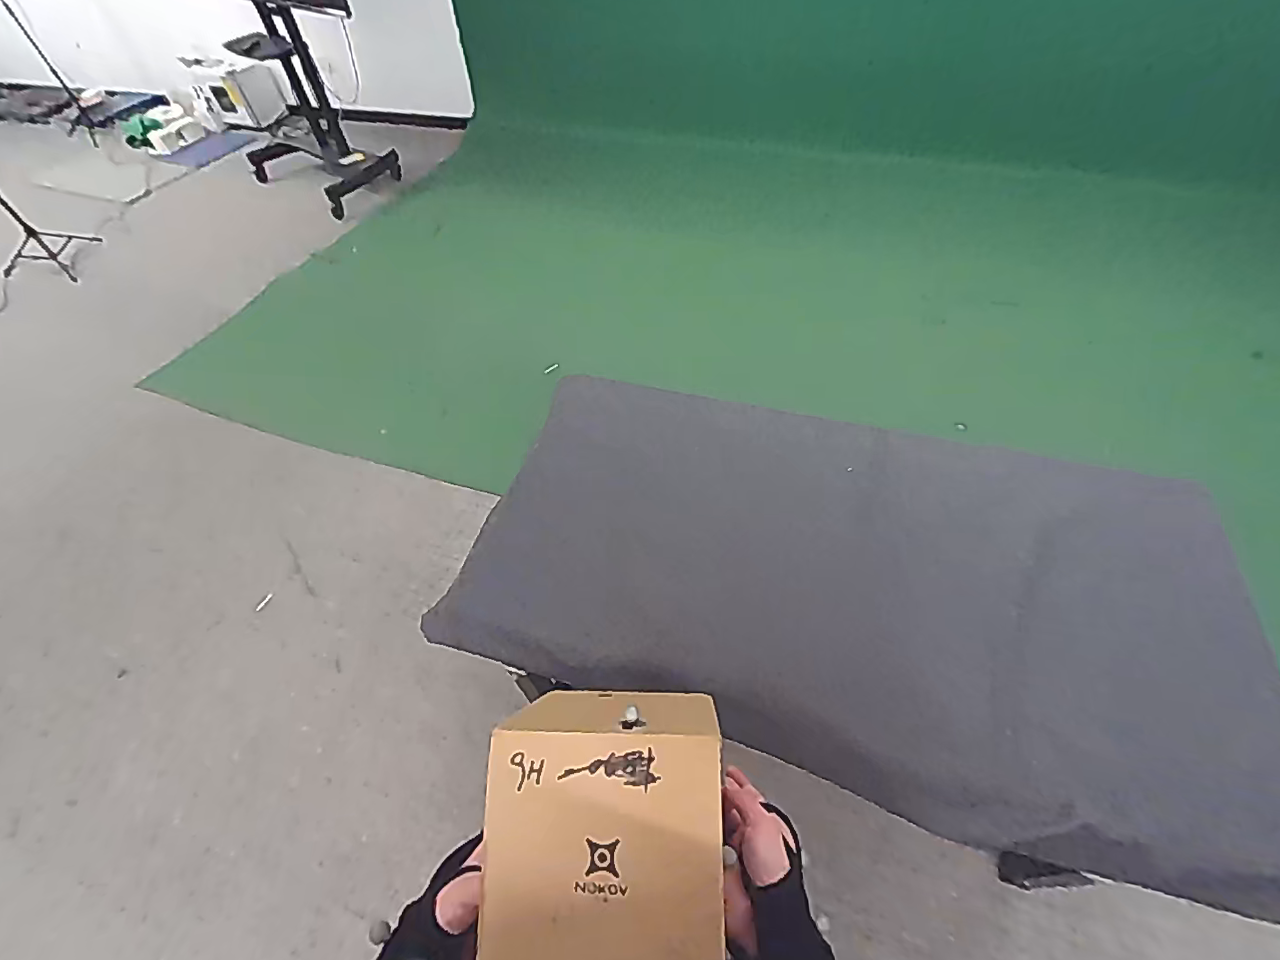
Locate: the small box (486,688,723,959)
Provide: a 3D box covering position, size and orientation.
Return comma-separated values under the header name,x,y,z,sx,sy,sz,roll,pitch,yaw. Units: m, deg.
name,x,y,z,sx,sy,sz,roll,pitch,yaw
small box,-0.017,0.286,0.454,0.168,0.176,0.179,0,79,4
